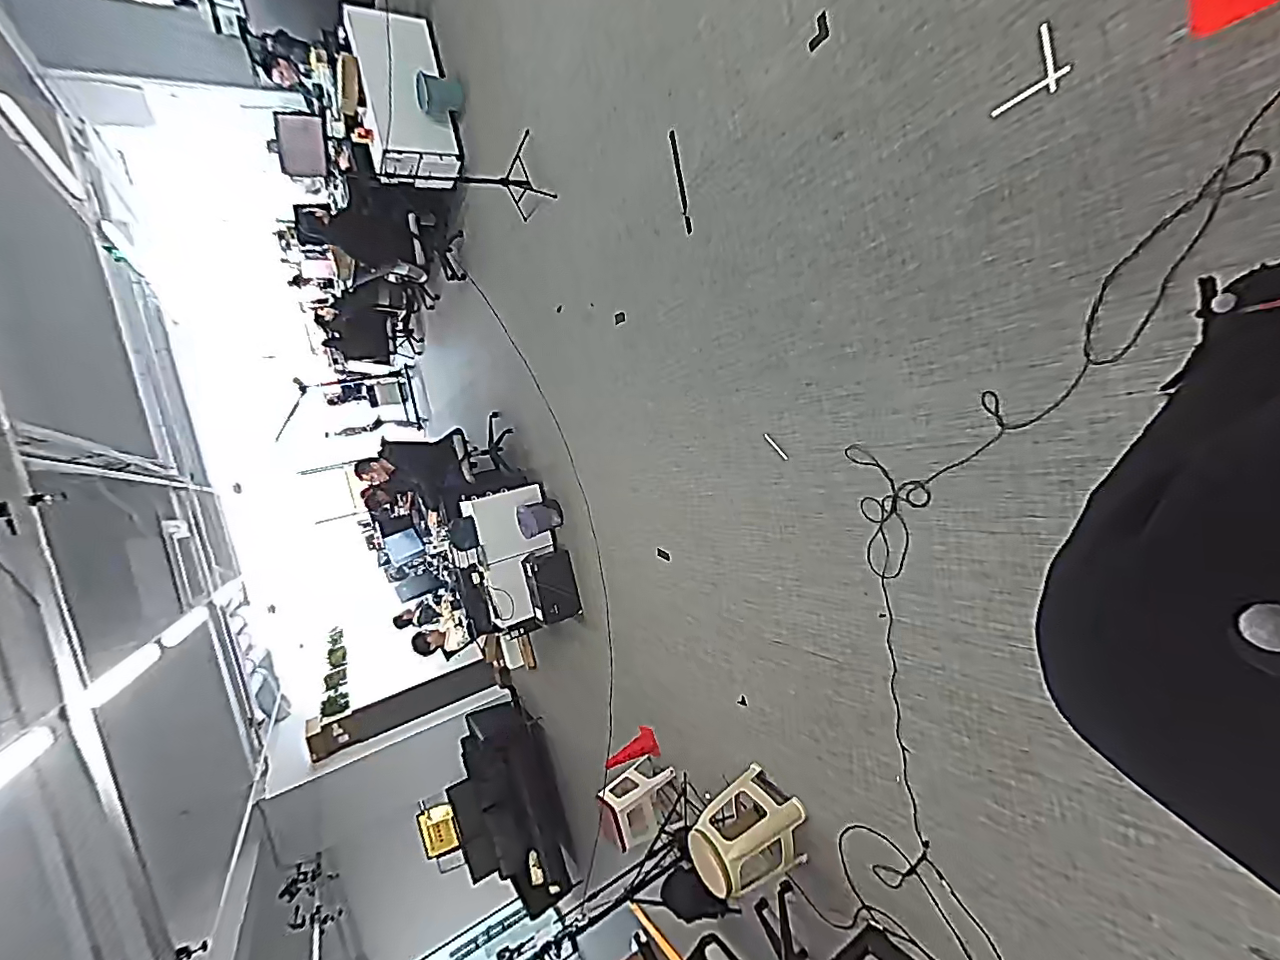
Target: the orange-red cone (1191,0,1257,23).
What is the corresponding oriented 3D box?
[{"bbox_3d":[0.862,-0.846,0.773,0.199,0.360,0.198,7,108,60],"label":"orange-red cone"}]
